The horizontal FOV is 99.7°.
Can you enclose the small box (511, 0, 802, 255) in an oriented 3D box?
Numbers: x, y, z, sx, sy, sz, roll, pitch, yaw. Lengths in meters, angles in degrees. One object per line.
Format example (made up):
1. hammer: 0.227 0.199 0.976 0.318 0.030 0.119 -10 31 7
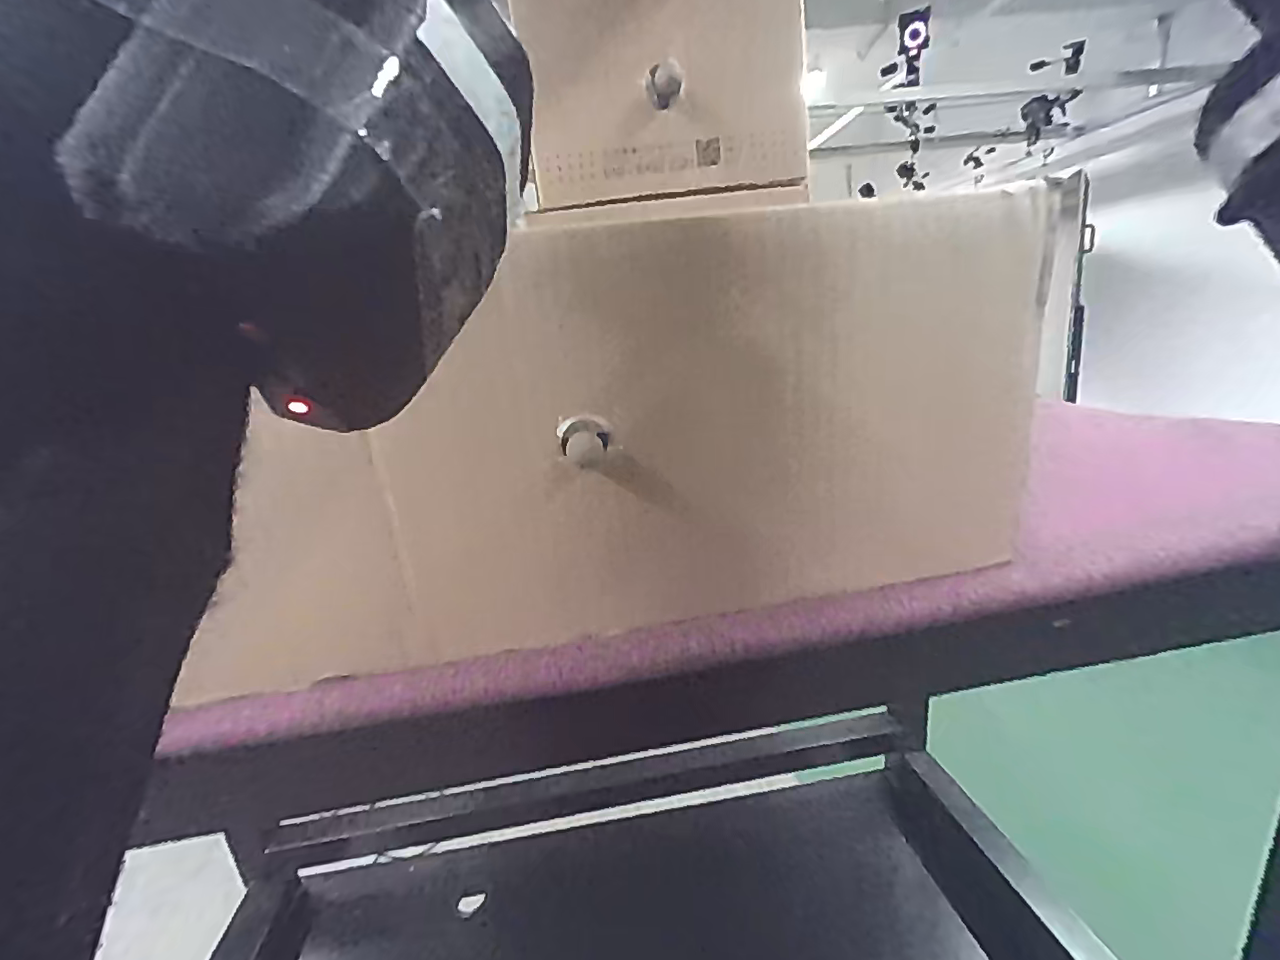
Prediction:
1. small box: 0.006 -0.267 0.386 0.168 0.176 0.179 -8 16 -2
